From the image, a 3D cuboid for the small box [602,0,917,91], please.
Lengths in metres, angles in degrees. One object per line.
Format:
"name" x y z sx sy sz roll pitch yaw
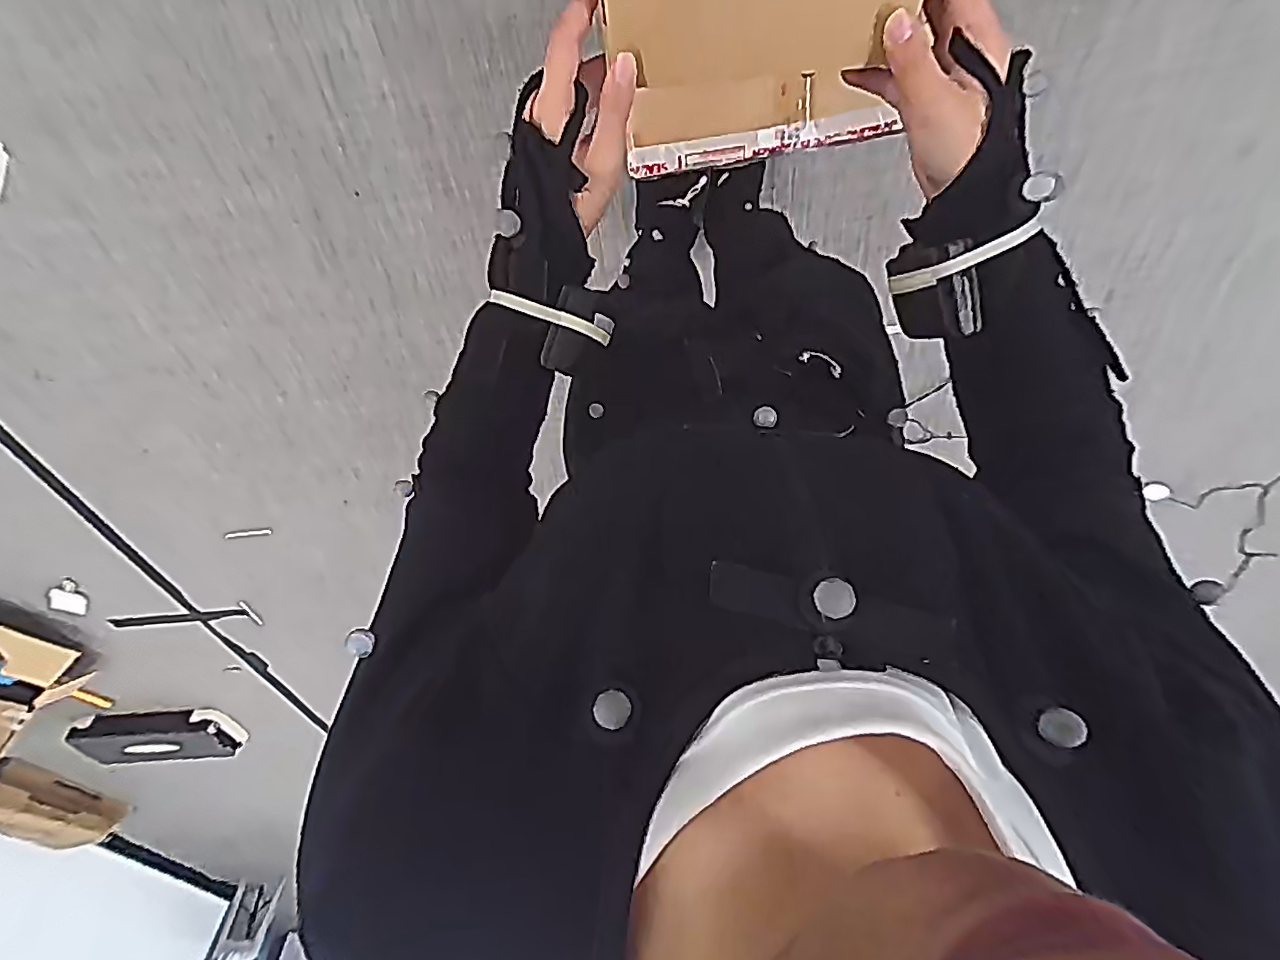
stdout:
"small box" 0.060 -0.352 0.300 0.179 0.176 0.168 -4 147 2
